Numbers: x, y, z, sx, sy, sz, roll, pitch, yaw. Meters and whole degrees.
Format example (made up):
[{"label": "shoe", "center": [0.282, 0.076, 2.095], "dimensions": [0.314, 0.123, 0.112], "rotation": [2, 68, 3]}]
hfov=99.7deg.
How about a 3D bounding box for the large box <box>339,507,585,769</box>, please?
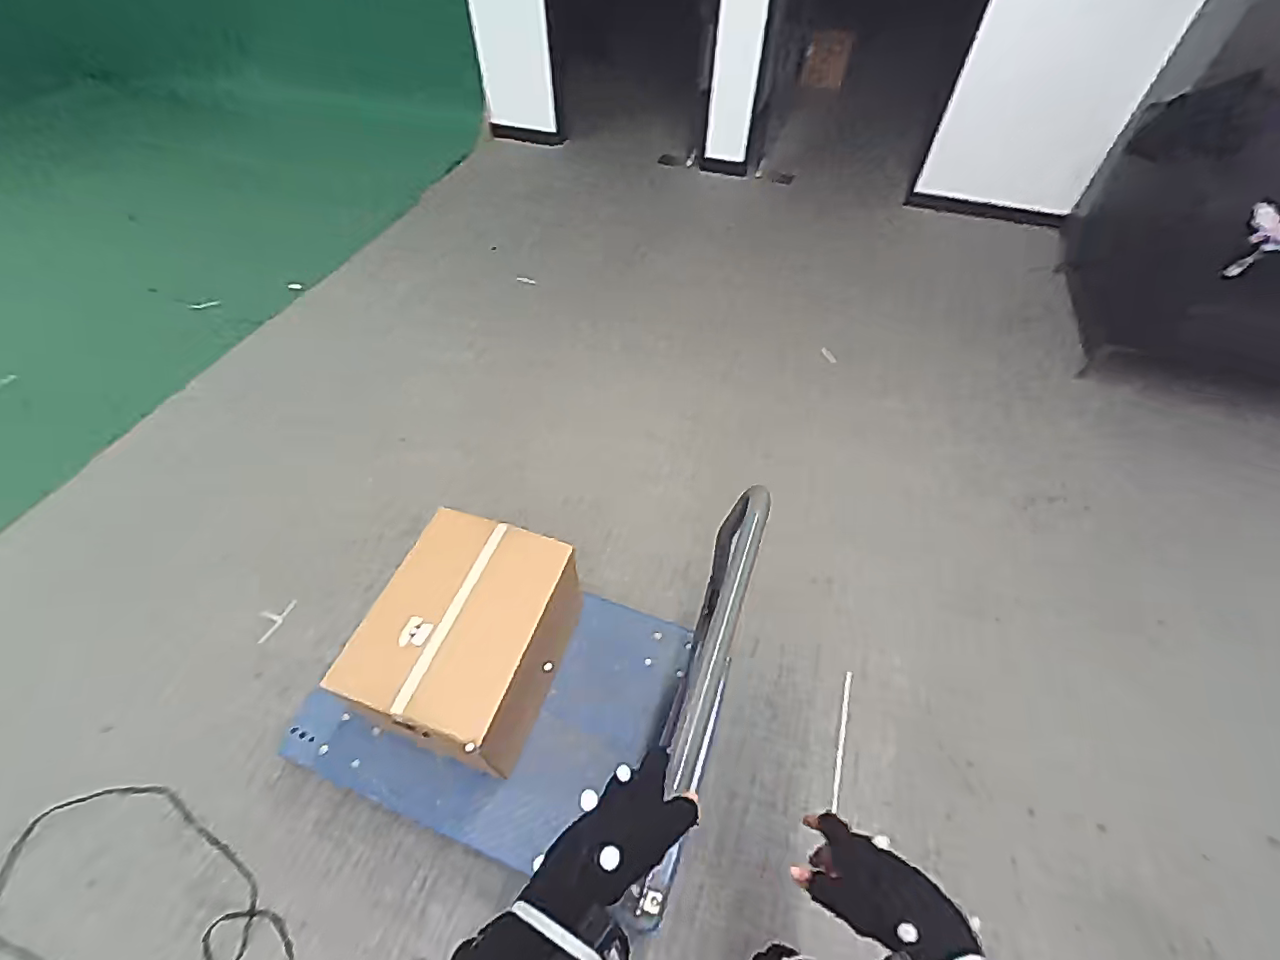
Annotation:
[{"label": "large box", "center": [-0.332, 0.333, 1.154], "dimensions": [0.320, 0.320, 0.408], "rotation": [15, 54, 11]}]
